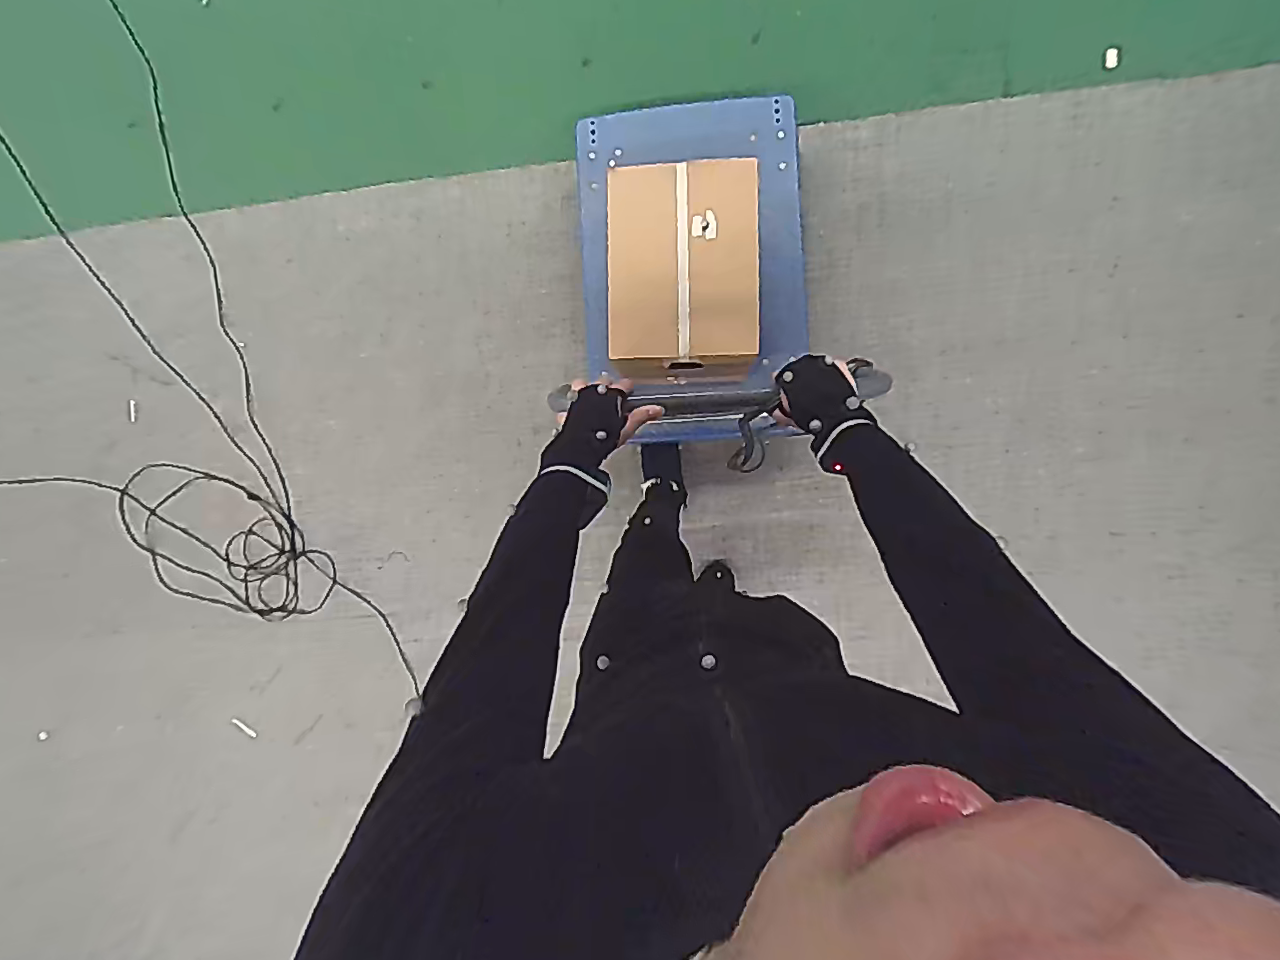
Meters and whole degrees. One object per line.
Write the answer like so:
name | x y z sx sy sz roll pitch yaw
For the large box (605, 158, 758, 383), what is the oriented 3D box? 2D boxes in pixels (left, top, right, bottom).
large box | 0.098 -0.459 1.269 0.320 0.320 0.408 0 90 5
